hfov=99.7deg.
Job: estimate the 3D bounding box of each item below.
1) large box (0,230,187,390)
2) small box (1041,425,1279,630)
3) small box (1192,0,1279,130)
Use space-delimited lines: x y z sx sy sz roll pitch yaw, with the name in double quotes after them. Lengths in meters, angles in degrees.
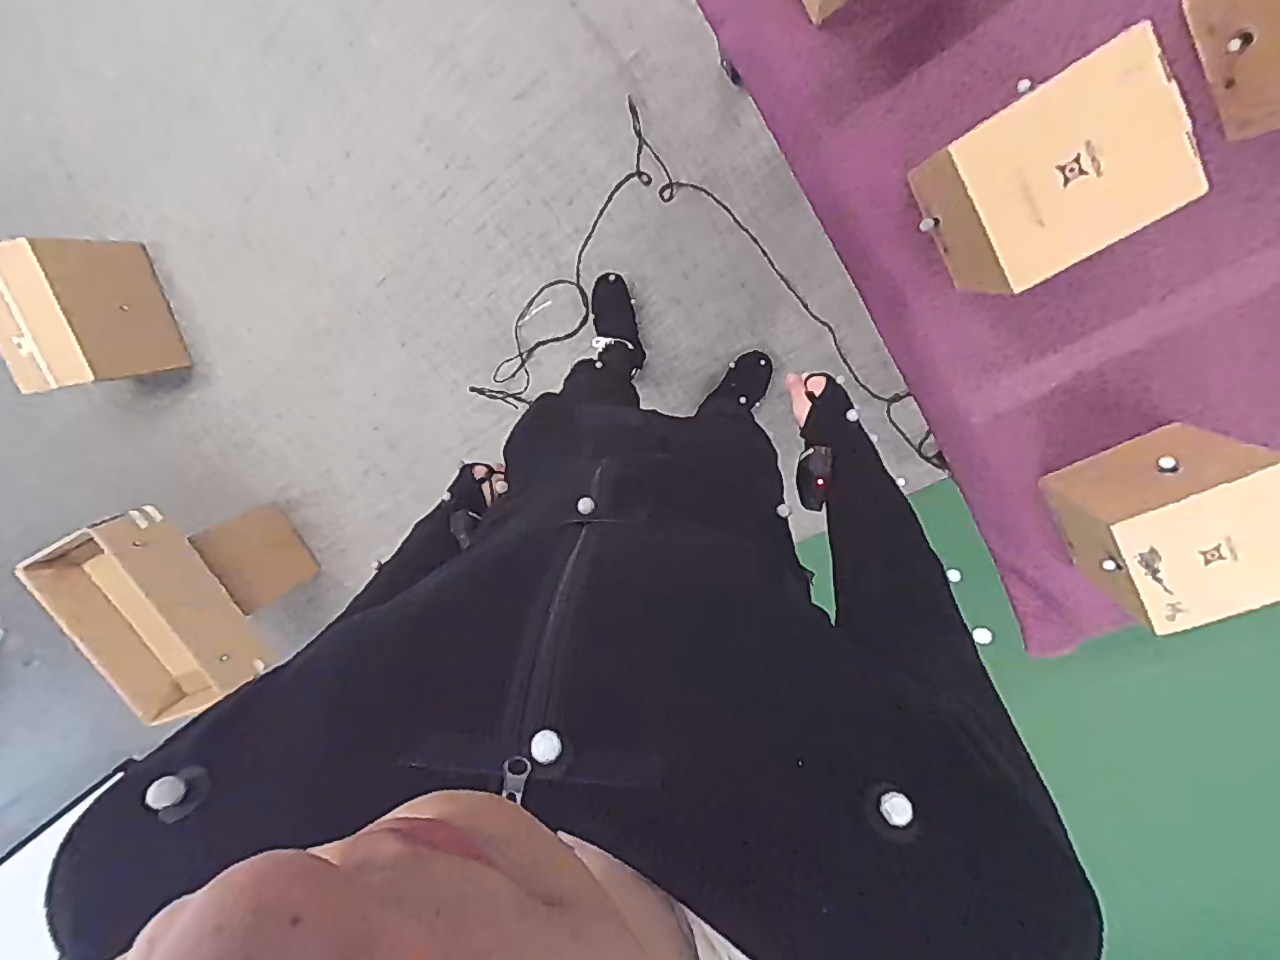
-1.749 -0.527 1.682 0.320 0.320 0.408 -5 111 14 "large box"
0.664 0.050 0.682 0.179 0.176 0.168 -28 101 17 "small box"
0.680 -0.461 0.488 0.179 0.176 0.168 -29 103 21 "small box"
